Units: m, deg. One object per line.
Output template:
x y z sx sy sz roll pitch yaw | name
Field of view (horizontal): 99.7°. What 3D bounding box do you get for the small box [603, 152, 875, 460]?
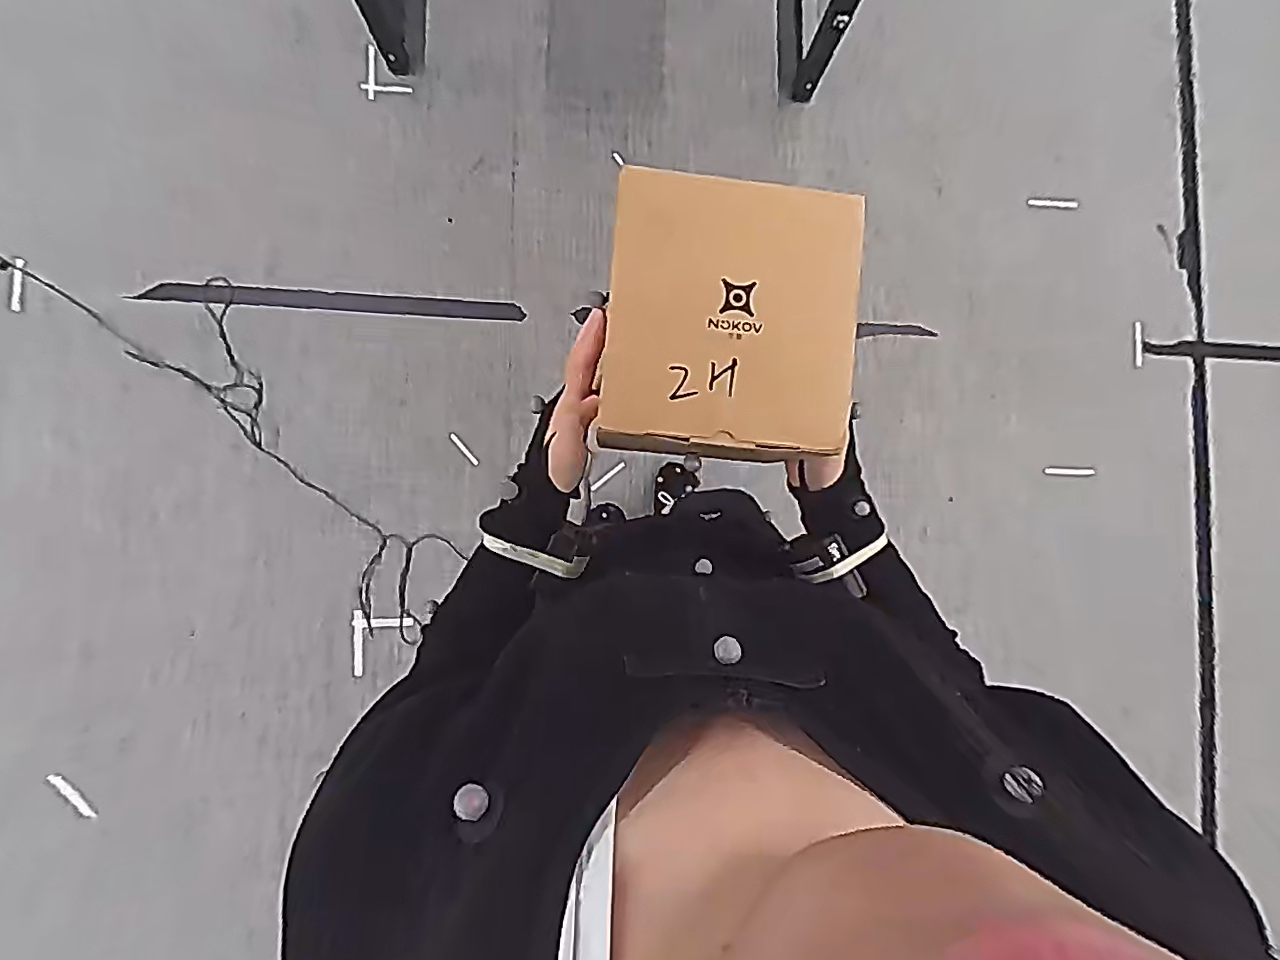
0.060 -0.113 0.425 0.168 0.176 0.179 5 90 -4 | small box
